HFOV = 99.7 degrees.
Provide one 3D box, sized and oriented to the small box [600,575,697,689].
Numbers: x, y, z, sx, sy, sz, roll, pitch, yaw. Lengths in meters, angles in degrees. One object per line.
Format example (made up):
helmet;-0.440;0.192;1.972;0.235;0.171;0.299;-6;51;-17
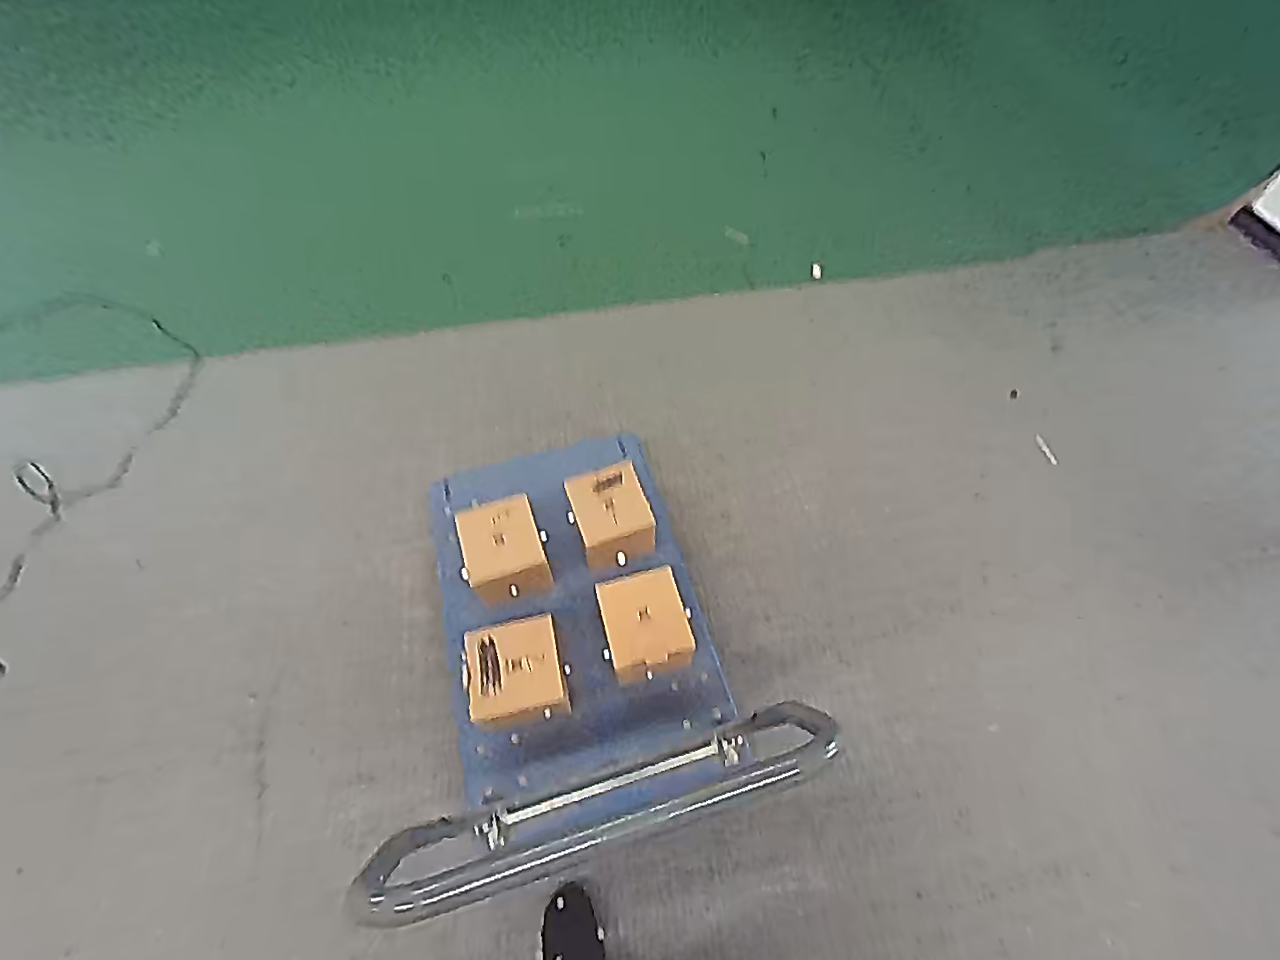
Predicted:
small box;0.011;0.329;1.160;0.168;0.176;0.179;-13;60;-8

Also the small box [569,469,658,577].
small box;-0.065;0.105;1.292;0.168;0.176;0.179;-17;62;-10

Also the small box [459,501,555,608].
small box;-0.302;0.179;1.246;0.168;0.176;0.179;-16;61;-11
